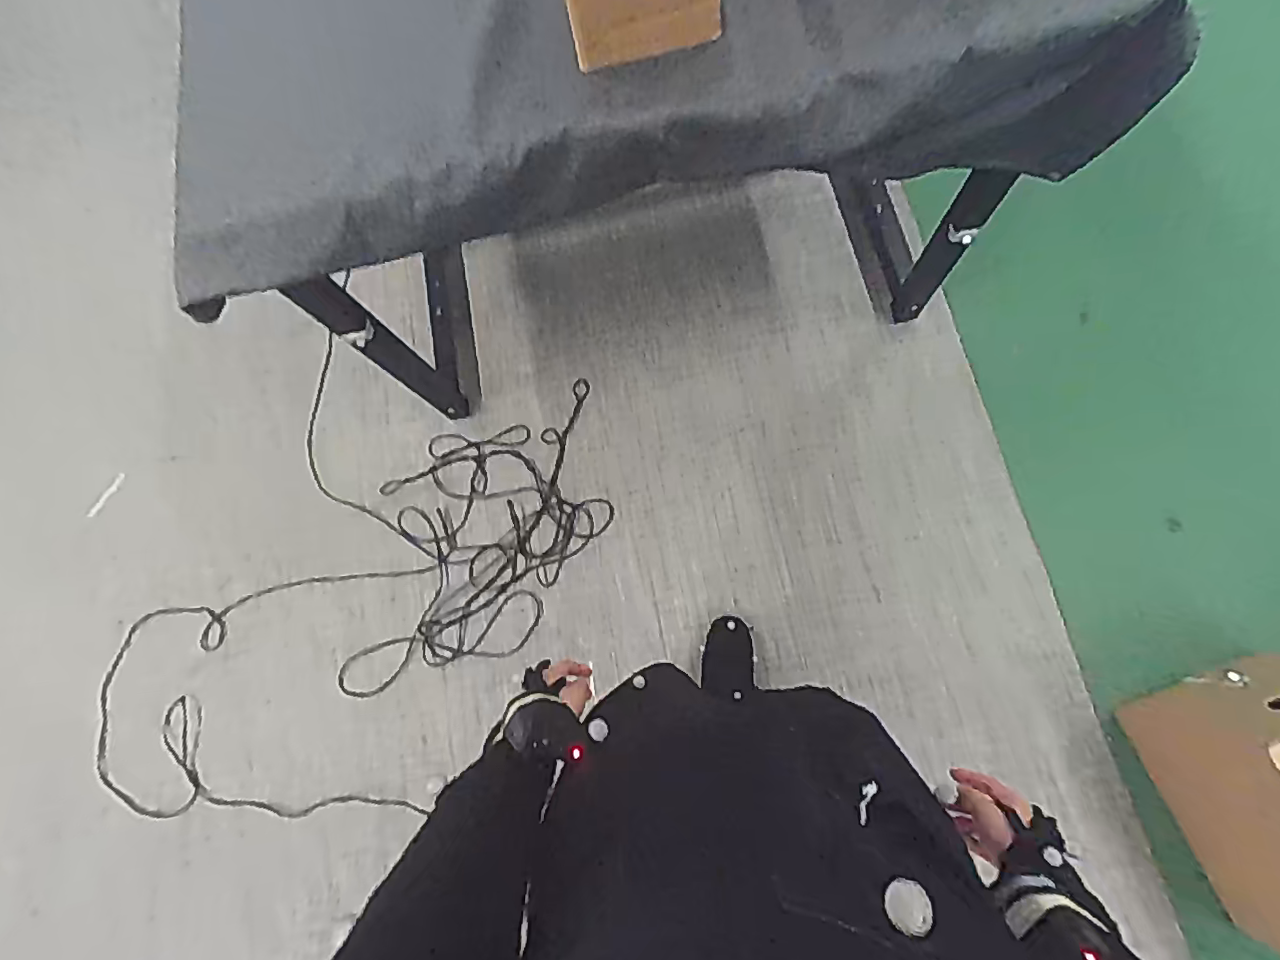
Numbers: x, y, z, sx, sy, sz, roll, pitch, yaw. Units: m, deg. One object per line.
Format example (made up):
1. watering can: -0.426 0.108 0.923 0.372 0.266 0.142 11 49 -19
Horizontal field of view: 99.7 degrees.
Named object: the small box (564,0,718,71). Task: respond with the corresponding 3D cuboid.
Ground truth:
1. small box: -0.010 -0.607 0.606 0.179 0.176 0.168 -11 75 3
